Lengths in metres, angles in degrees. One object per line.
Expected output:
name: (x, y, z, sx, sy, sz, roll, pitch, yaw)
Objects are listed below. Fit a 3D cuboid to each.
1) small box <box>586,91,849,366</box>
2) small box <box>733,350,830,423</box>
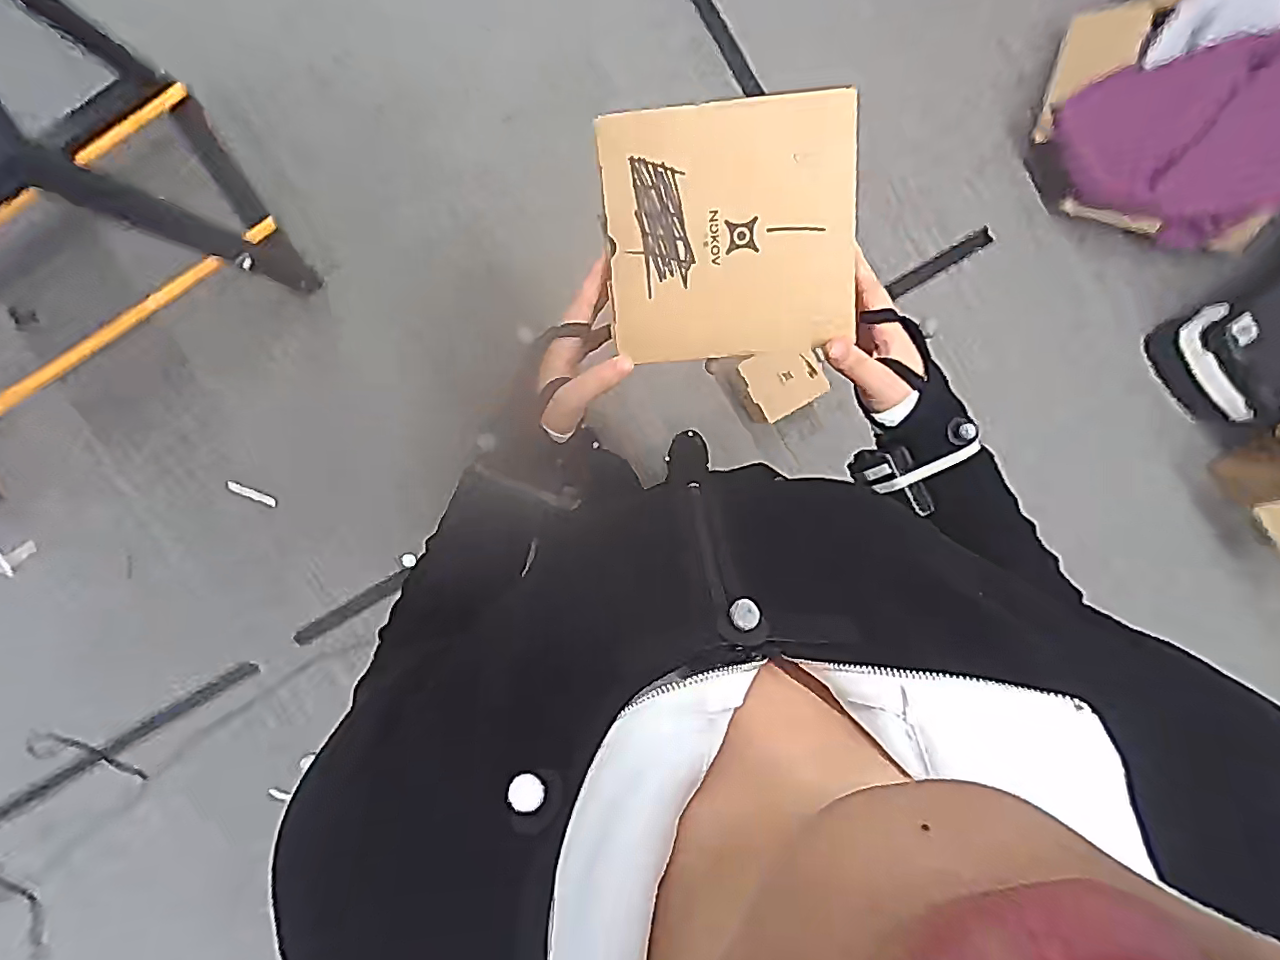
small box: (0.059, -0.187, 0.452, 0.179, 0.176, 0.168, -6, 105, 2)
small box: (0.350, -0.256, 1.383, 0.179, 0.176, 0.168, -29, 95, 4)
